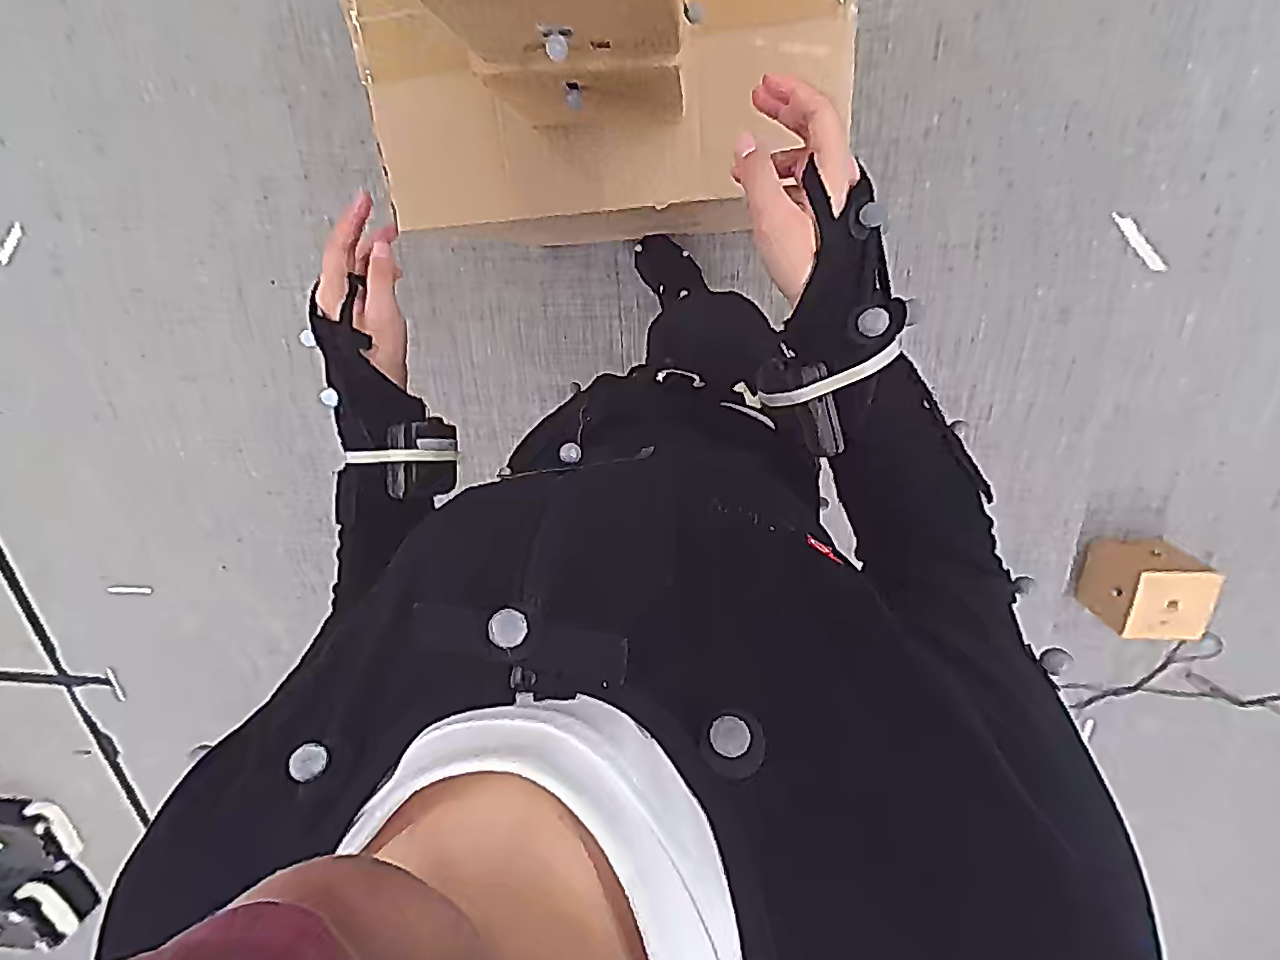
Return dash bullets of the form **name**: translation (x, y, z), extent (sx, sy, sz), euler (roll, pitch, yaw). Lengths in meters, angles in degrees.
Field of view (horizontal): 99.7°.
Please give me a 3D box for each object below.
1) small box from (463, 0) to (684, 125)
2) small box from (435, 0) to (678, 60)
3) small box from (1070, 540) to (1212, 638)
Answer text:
- **small box**: translation (-0.049, -0.432, 0.481), extent (0.179, 0.176, 0.168), euler (2, 112, 6)
- **small box**: translation (-0.060, -0.386, 0.323), extent (0.168, 0.176, 0.179), euler (3, 112, 6)
- **small box**: translation (1.177, 0.253, 1.288), extent (0.168, 0.176, 0.179), euler (0, 110, 7)
